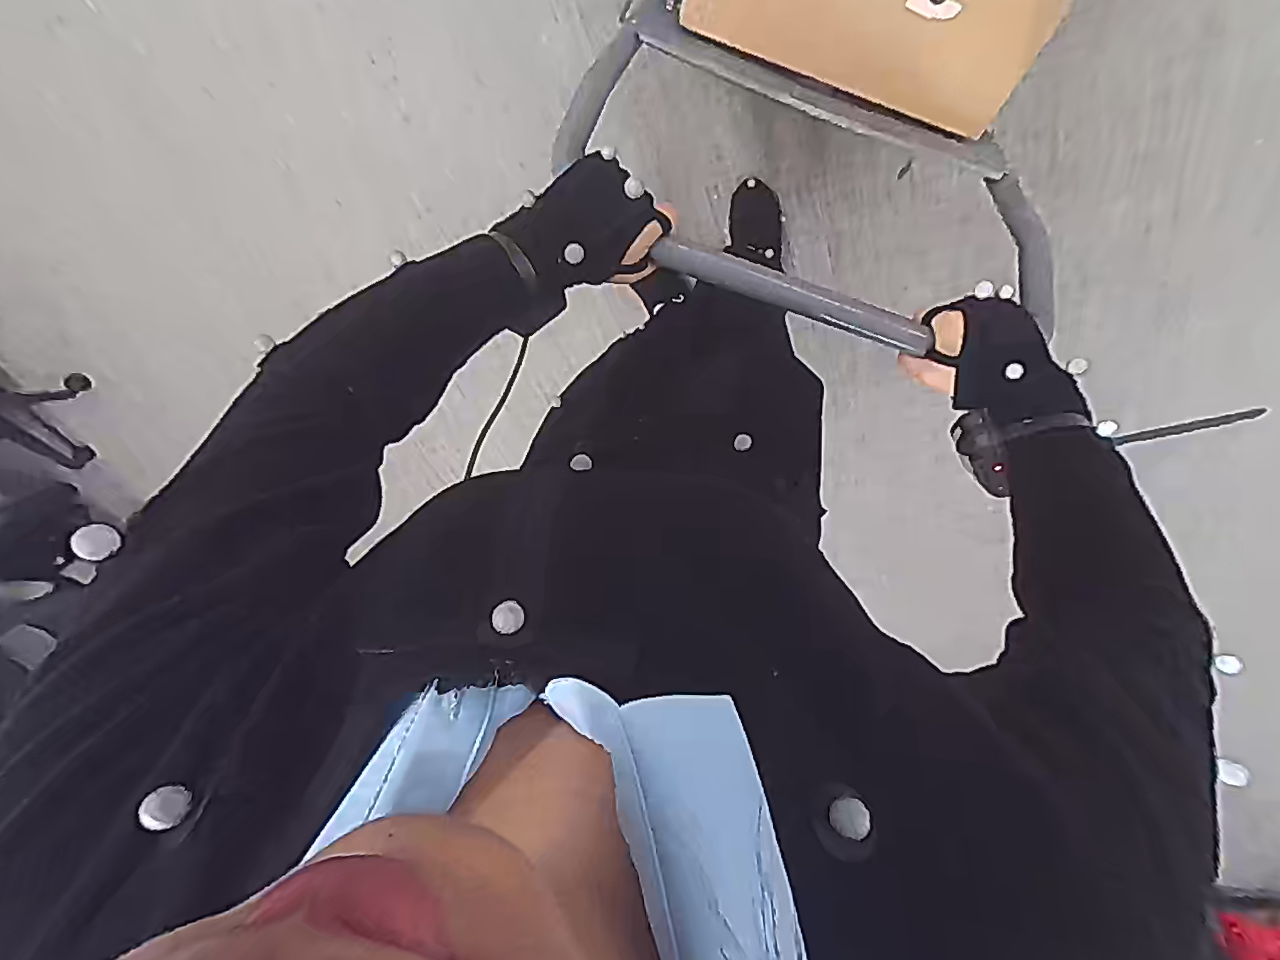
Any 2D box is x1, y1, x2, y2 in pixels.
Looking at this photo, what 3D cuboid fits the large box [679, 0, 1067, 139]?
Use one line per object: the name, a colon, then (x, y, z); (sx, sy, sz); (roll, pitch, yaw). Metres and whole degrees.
large box: (0.291, -0.683, 0.648); (0.408, 0.320, 0.320); (17, 139, -5)
